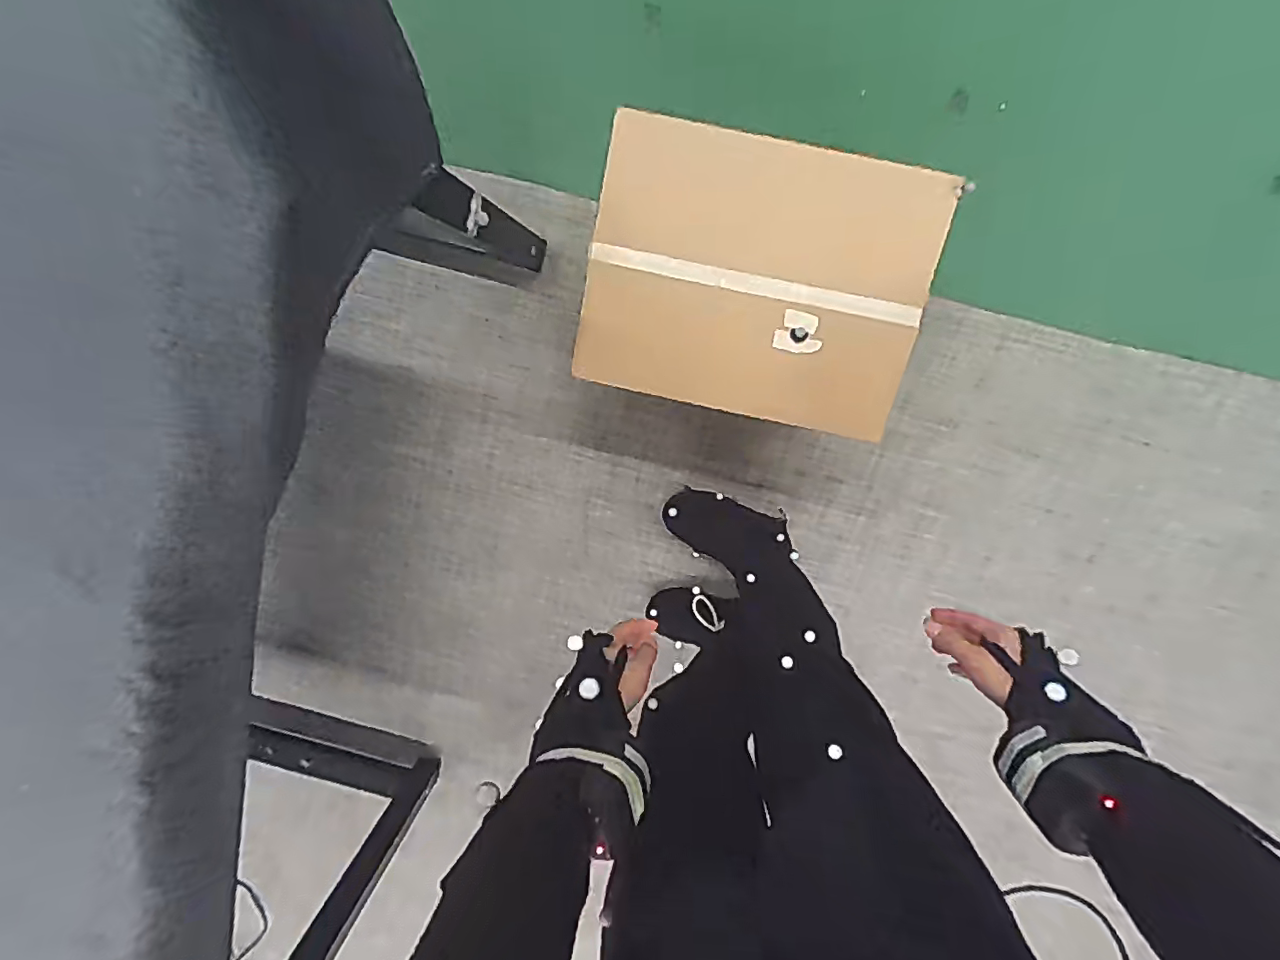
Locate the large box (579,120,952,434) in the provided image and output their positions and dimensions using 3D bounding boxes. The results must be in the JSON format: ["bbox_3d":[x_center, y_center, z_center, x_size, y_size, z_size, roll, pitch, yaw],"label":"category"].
[{"bbox_3d":[0.149,-0.273,0.807,0.408,0.320,0.320,12,104,2],"label":"large box"}]
